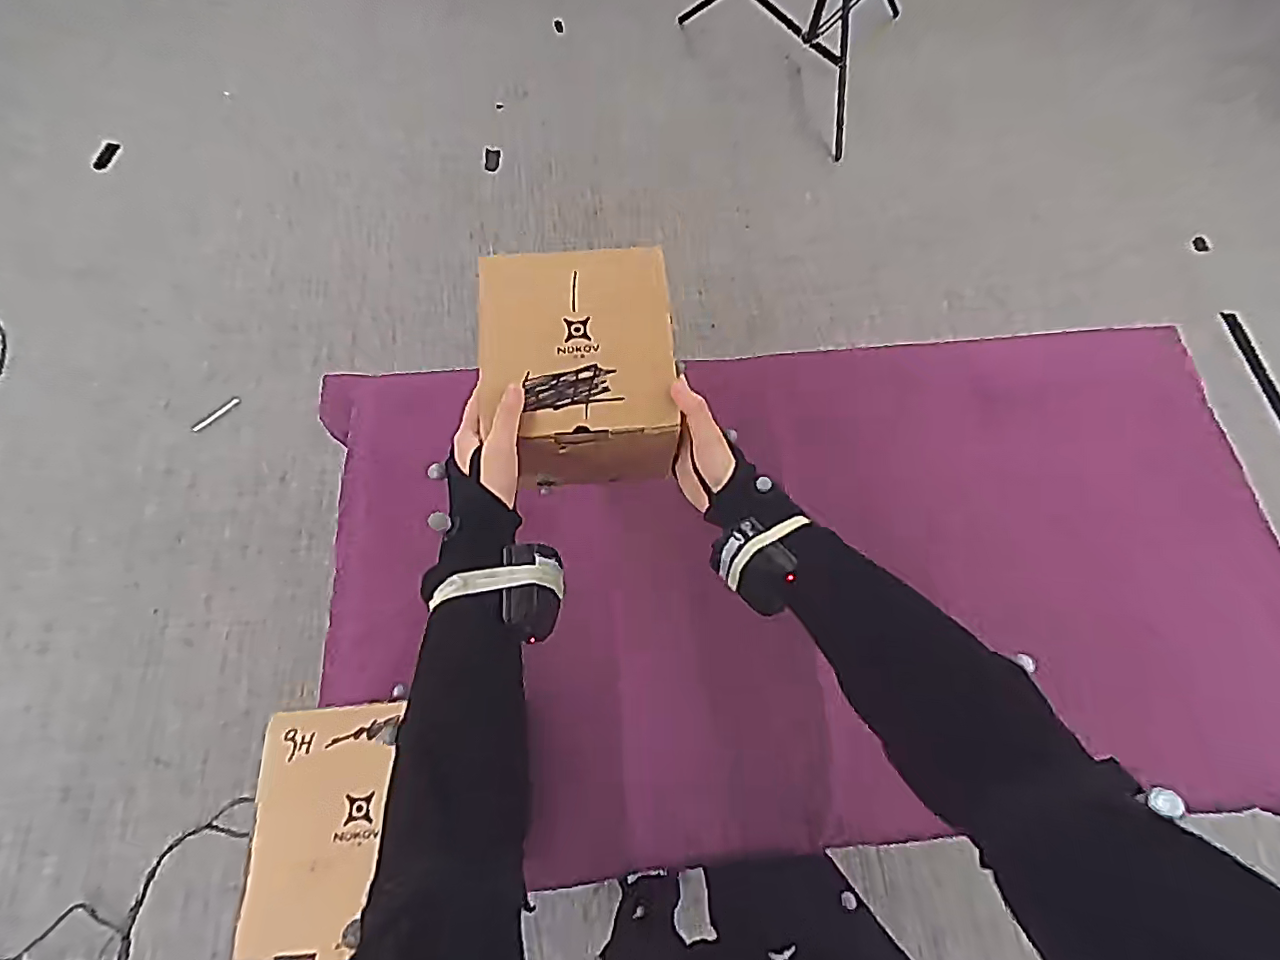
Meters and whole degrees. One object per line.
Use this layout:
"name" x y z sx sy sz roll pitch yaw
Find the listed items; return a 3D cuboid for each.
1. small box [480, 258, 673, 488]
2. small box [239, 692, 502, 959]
"small box" -0.058 -0.094 0.549 0.168 0.176 0.179 -4 74 -2
"small box" -0.230 0.304 0.514 0.168 0.176 0.179 -3 70 -4
